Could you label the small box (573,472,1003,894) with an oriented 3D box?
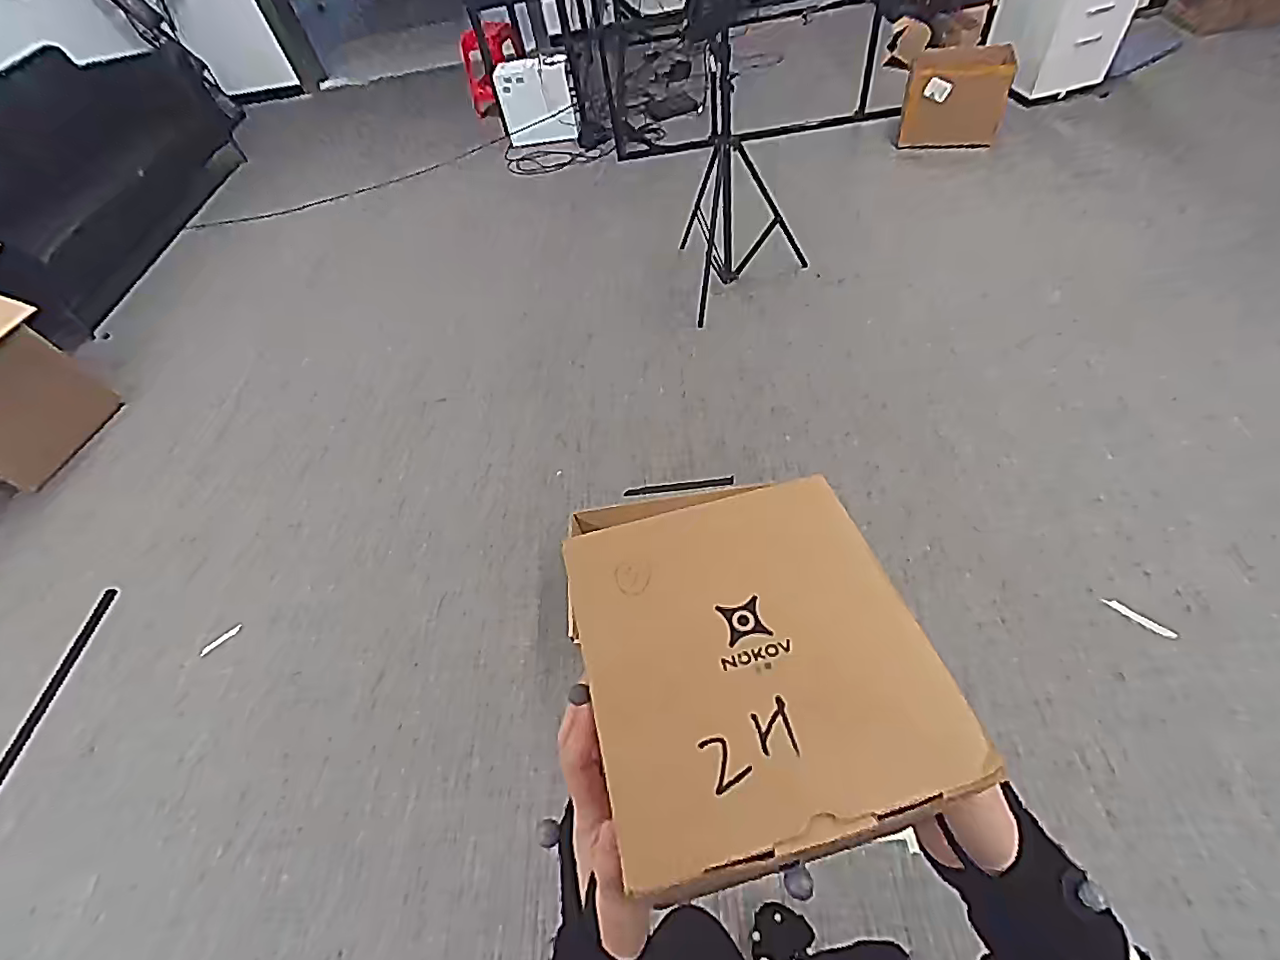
[{"bbox_3d":[0.062,0.126,0.335,0.168,0.176,0.179,-14,51,-5],"label":"small box"}]
